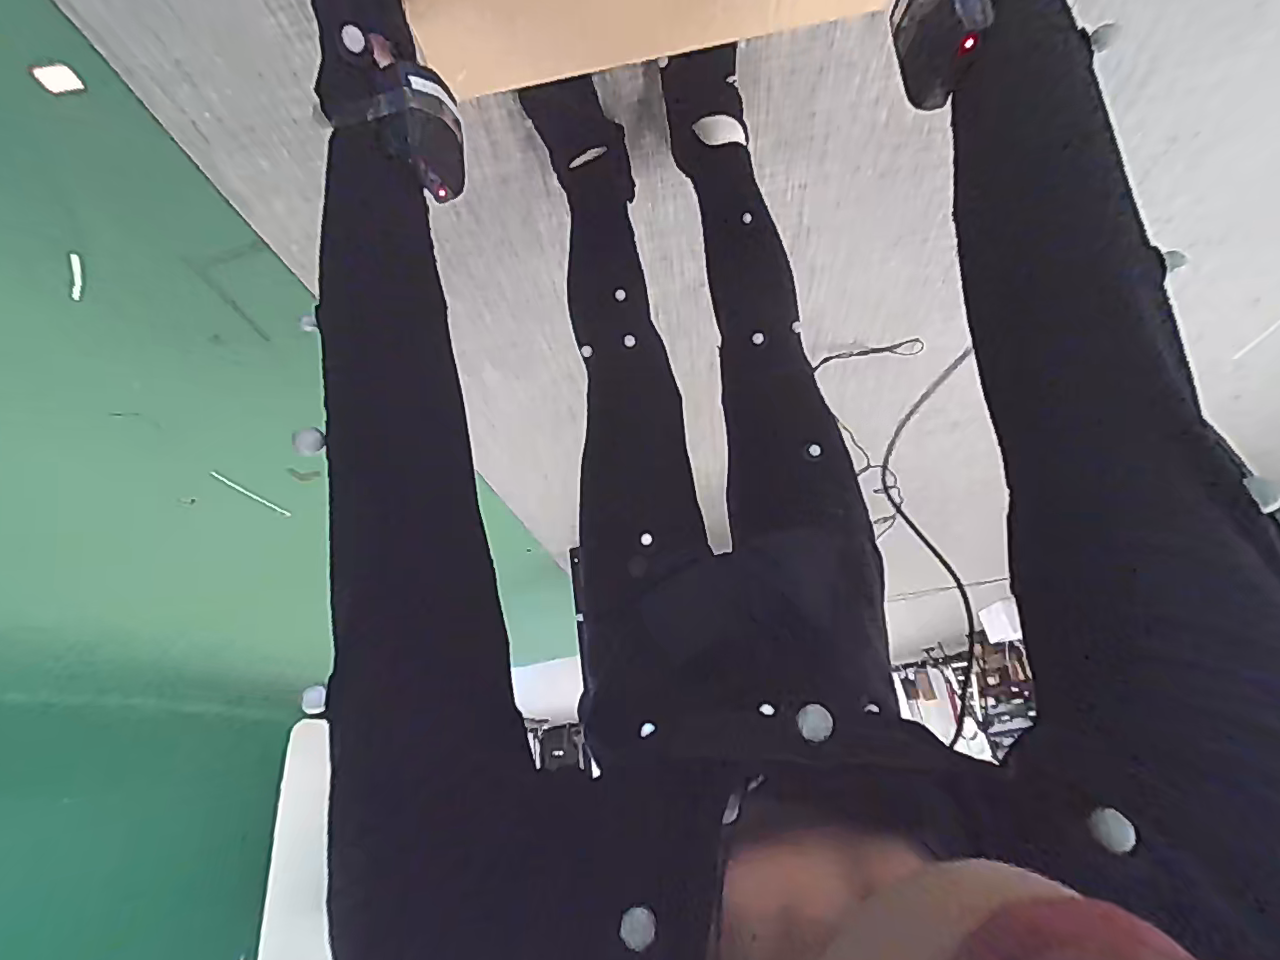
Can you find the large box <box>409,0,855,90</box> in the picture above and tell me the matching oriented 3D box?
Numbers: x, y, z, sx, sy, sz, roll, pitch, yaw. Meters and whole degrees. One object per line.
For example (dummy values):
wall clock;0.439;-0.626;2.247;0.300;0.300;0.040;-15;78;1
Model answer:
large box;-0.019;-0.588;0.410;0.408;0.320;0.320;-9;154;4
